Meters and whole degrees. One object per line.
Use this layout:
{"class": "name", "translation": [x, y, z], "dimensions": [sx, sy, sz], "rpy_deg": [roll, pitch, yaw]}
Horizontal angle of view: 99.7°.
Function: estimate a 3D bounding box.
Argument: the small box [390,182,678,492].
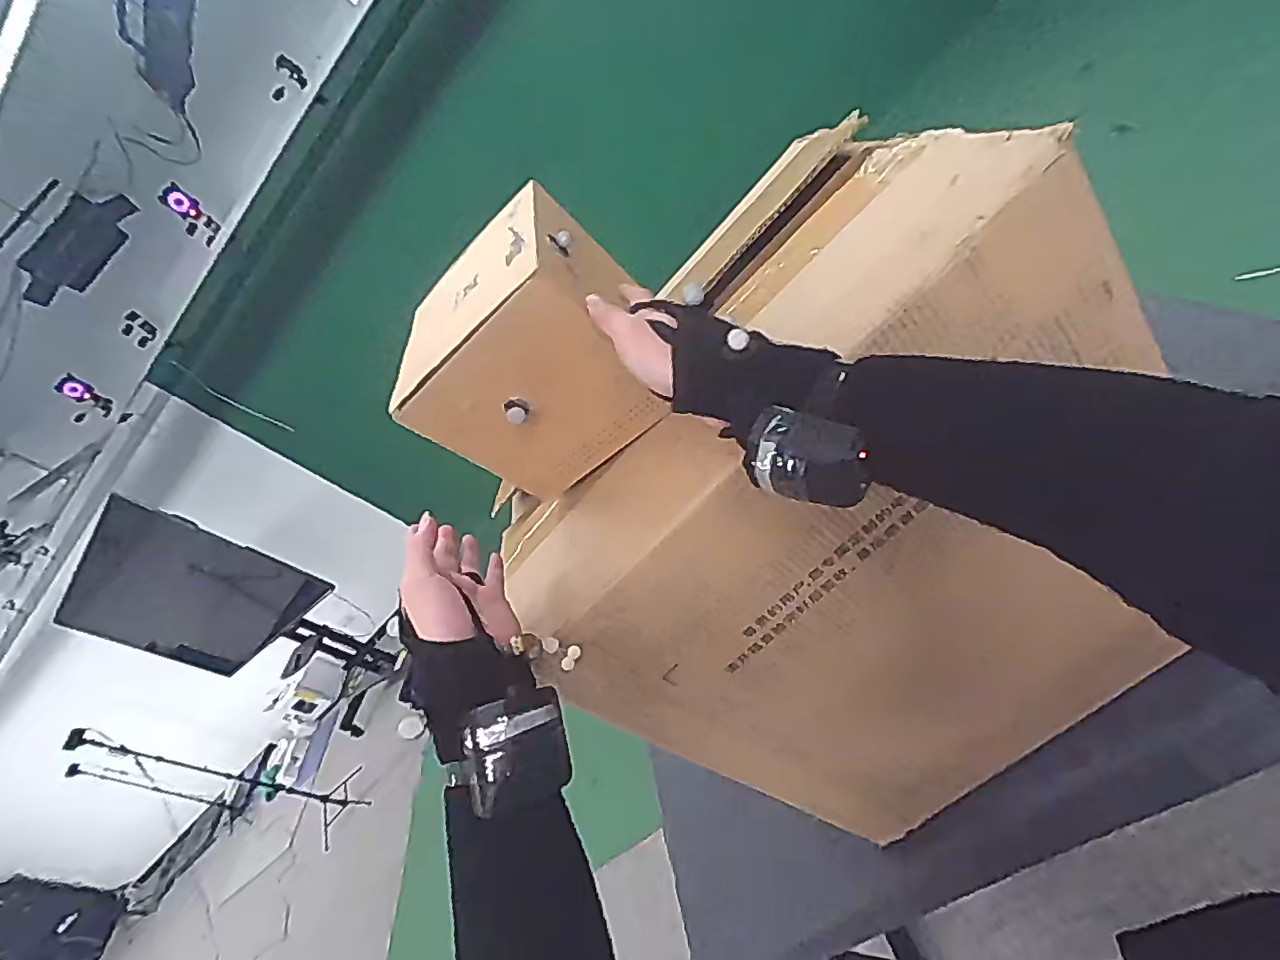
{"class": "small box", "translation": [-0.092, -0.116, 0.494], "dimensions": [0.179, 0.176, 0.168], "rpy_deg": [-35, 44, 25]}
